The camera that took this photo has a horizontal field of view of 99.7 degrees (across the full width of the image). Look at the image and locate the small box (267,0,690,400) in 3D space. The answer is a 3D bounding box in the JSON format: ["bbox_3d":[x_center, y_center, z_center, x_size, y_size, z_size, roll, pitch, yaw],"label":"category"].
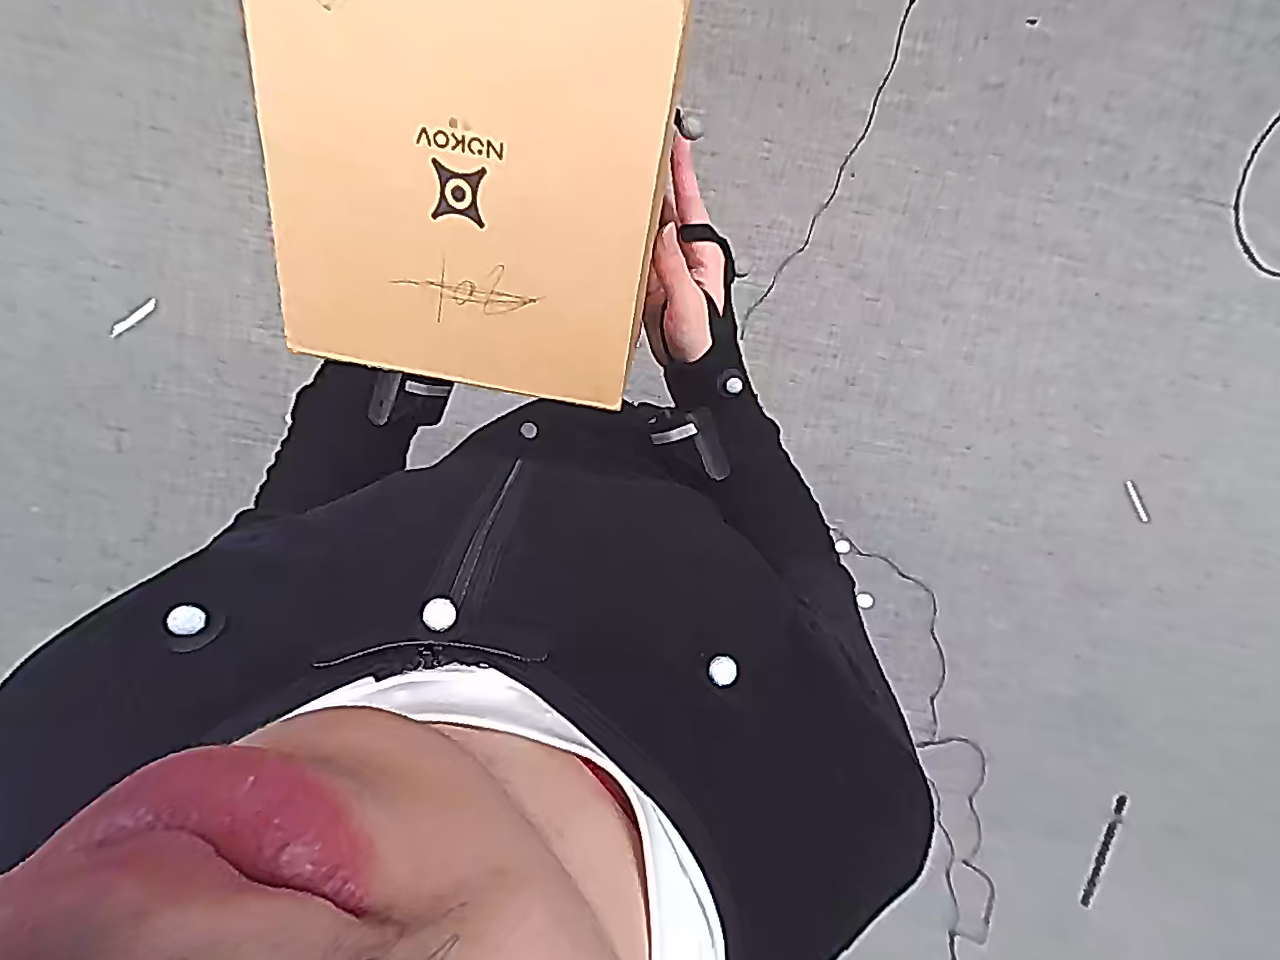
[{"bbox_3d":[-0.073,-0.167,0.311,0.168,0.176,0.179,10,117,-2],"label":"small box"}]
